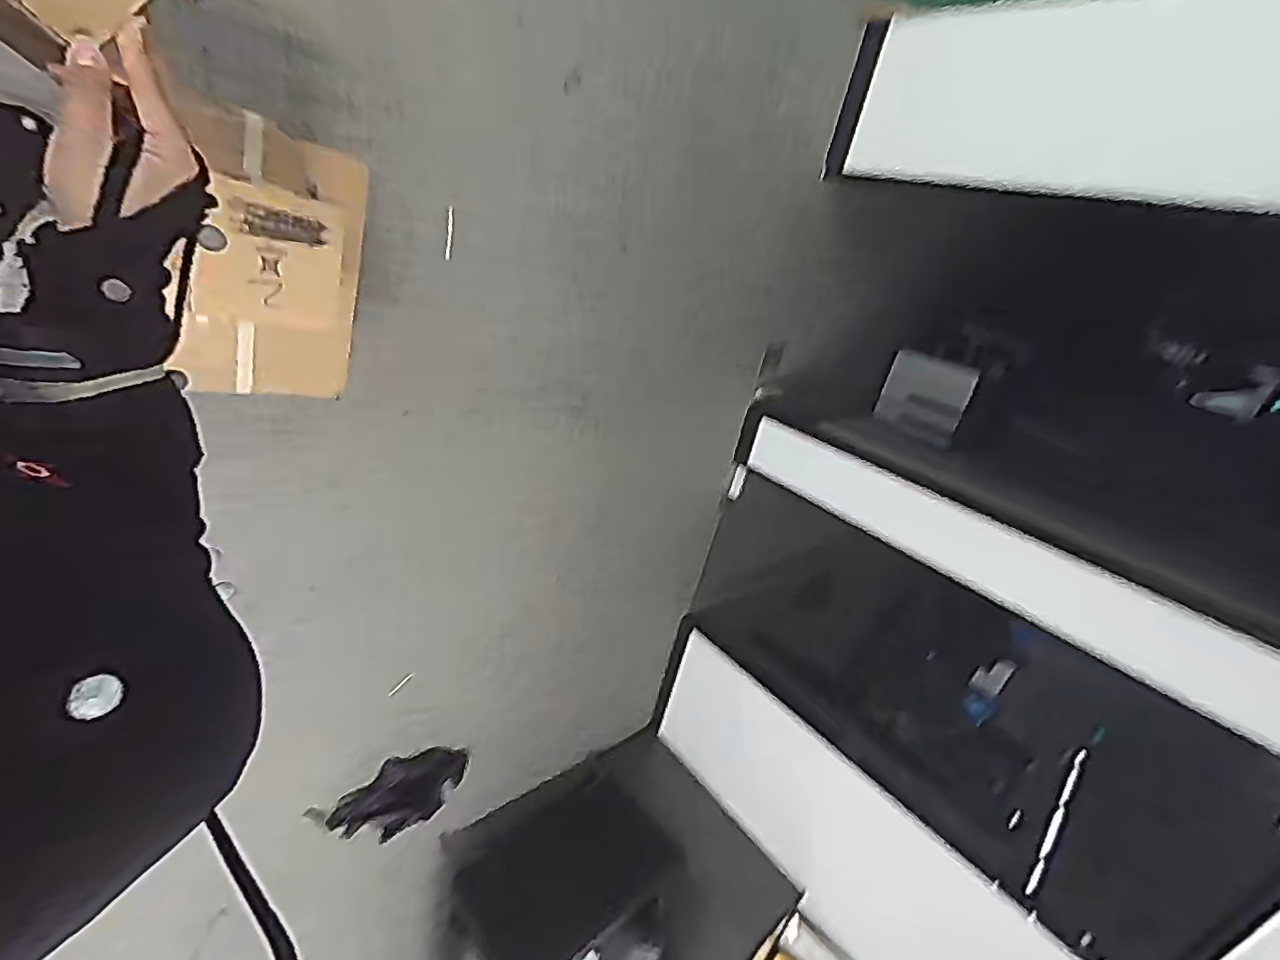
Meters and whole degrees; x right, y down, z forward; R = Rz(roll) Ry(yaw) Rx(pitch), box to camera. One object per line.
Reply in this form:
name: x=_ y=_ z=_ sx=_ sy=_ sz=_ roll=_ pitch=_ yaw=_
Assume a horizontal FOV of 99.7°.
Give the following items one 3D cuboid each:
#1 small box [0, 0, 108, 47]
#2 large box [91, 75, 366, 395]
small box: x=-0.347 y=-0.360 z=0.271 sx=0.179 sy=0.176 sz=0.168 roll=-59 pitch=147 yaw=-7
large box: x=-0.701 y=-0.395 z=0.922 sx=0.320 sy=0.320 sz=0.408 roll=-3 pitch=119 yaw=-45
